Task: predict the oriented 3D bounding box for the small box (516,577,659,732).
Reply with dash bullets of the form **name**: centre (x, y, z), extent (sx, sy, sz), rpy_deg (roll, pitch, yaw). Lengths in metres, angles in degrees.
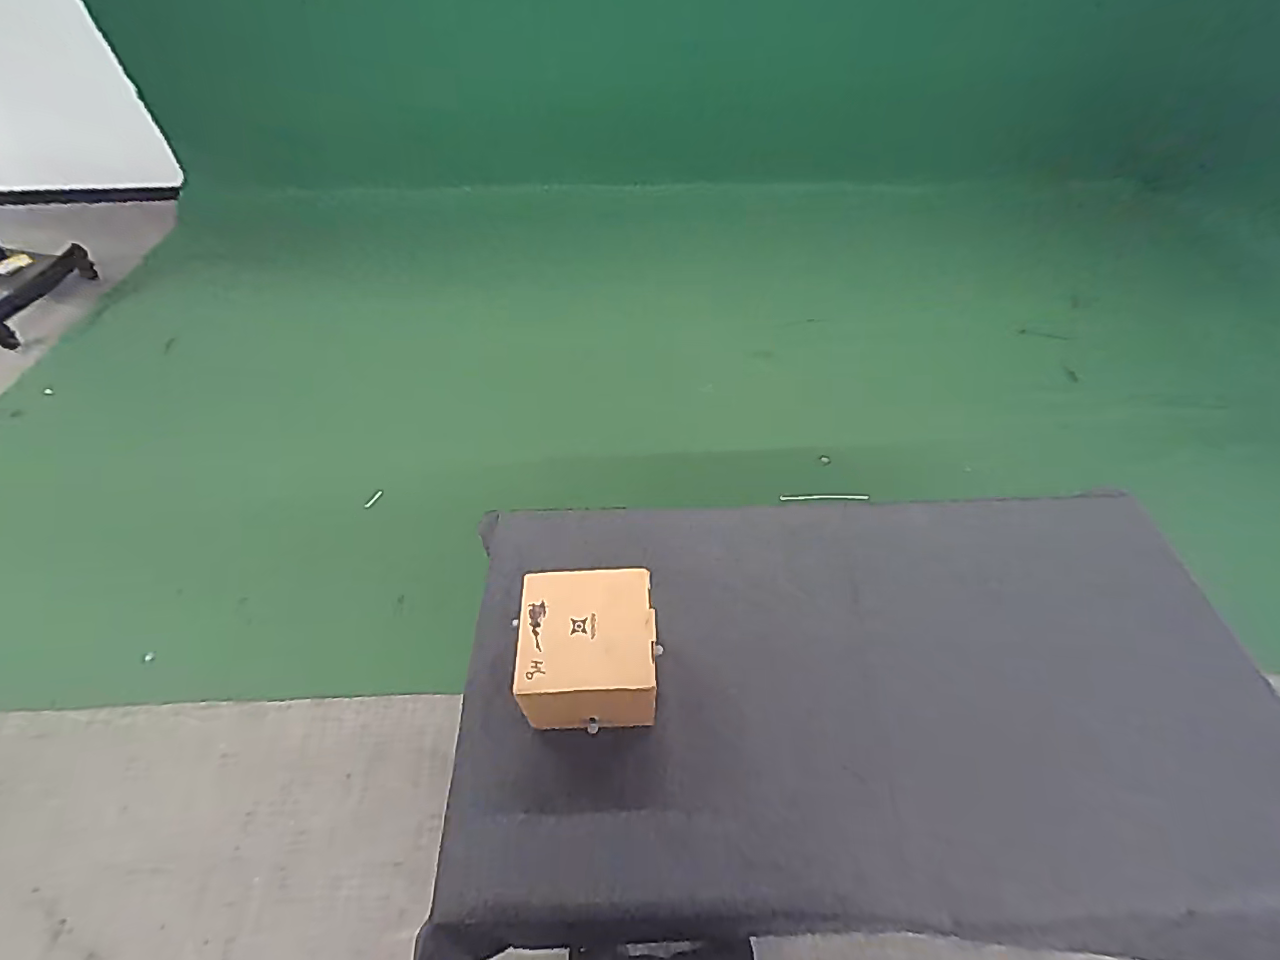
- **small box**: centre (-0.068, 0.250, 0.768), extent (0.179, 0.176, 0.168), rpy_deg (-1, 51, -2)
